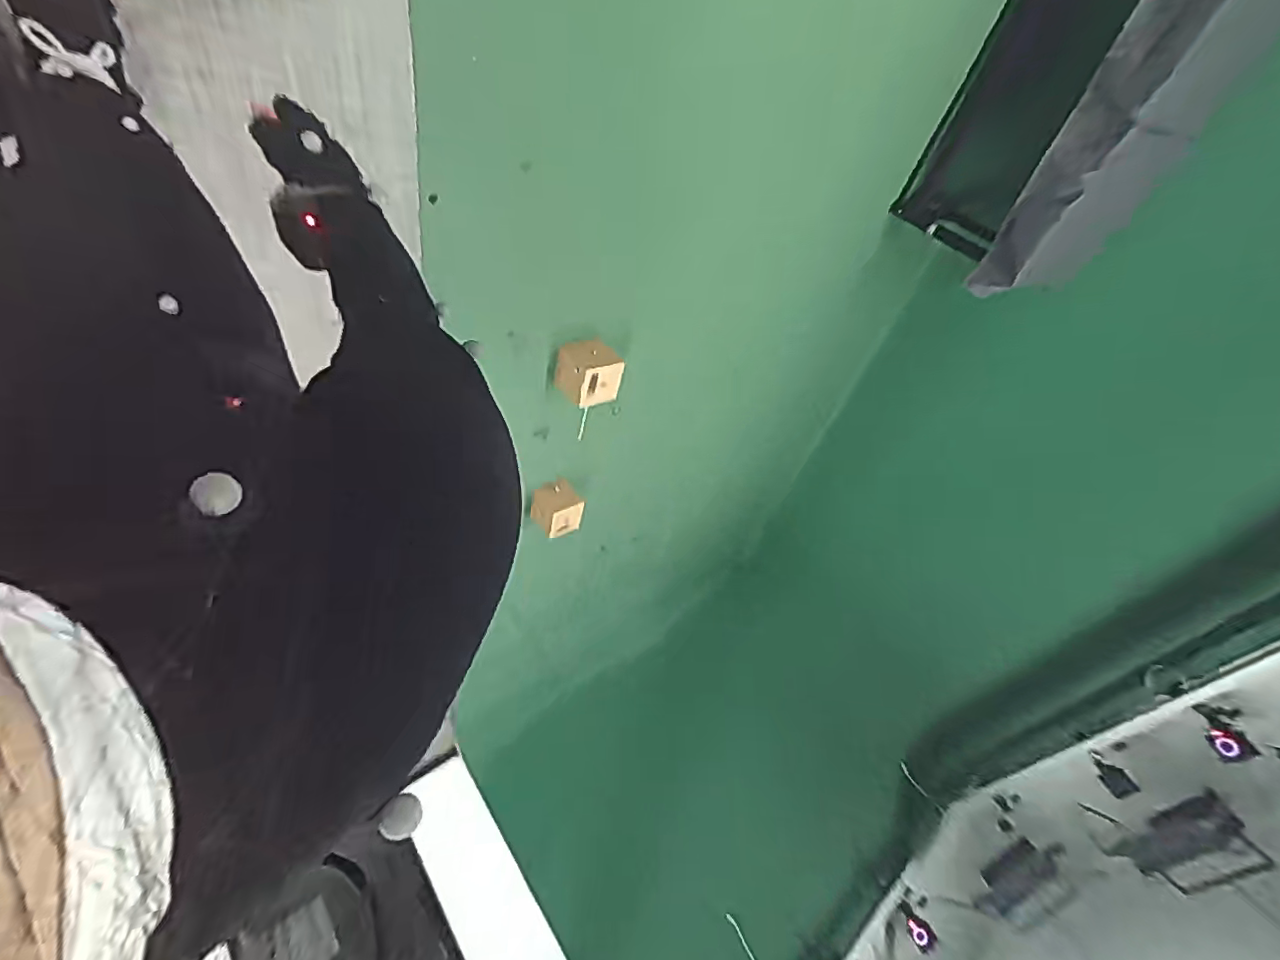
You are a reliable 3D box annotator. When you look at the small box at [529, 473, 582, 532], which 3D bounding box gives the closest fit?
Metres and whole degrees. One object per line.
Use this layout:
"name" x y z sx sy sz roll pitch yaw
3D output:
"small box" -0.390 0.100 2.454 0.168 0.176 0.179 -21 146 -36
